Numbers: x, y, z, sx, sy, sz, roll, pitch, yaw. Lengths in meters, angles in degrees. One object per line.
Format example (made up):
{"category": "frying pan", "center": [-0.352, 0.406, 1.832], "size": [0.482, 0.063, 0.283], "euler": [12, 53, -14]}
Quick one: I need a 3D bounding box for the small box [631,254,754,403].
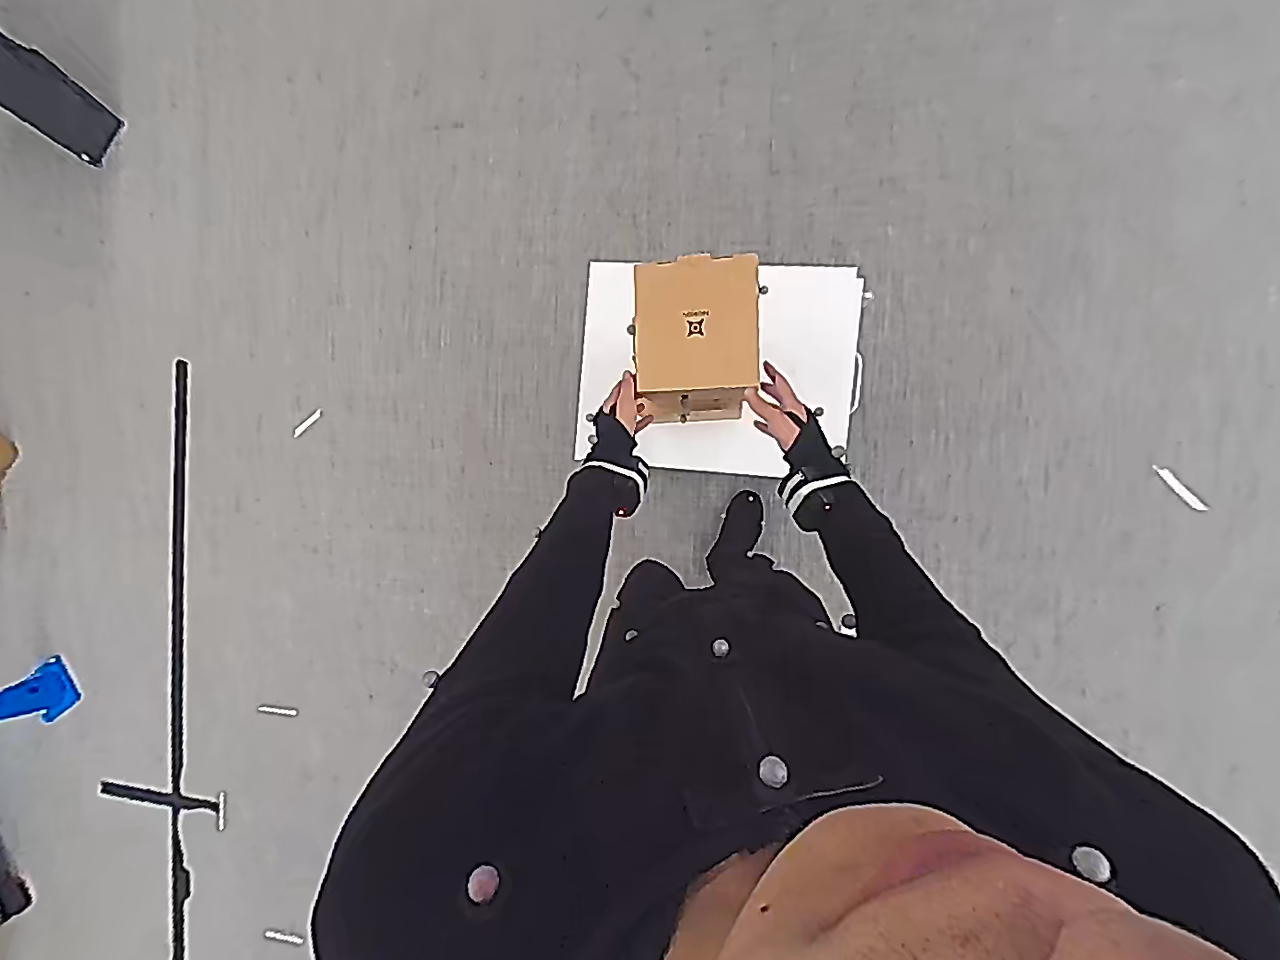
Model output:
{"category": "small box", "center": [0.083, -0.208, 0.796], "size": [0.168, 0.176, 0.179], "euler": [-1, 90, 9]}

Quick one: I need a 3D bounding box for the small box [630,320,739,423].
{"category": "small box", "center": [0.085, -0.194, 0.961], "size": [0.179, 0.176, 0.168], "euler": [-2, 91, 9]}
